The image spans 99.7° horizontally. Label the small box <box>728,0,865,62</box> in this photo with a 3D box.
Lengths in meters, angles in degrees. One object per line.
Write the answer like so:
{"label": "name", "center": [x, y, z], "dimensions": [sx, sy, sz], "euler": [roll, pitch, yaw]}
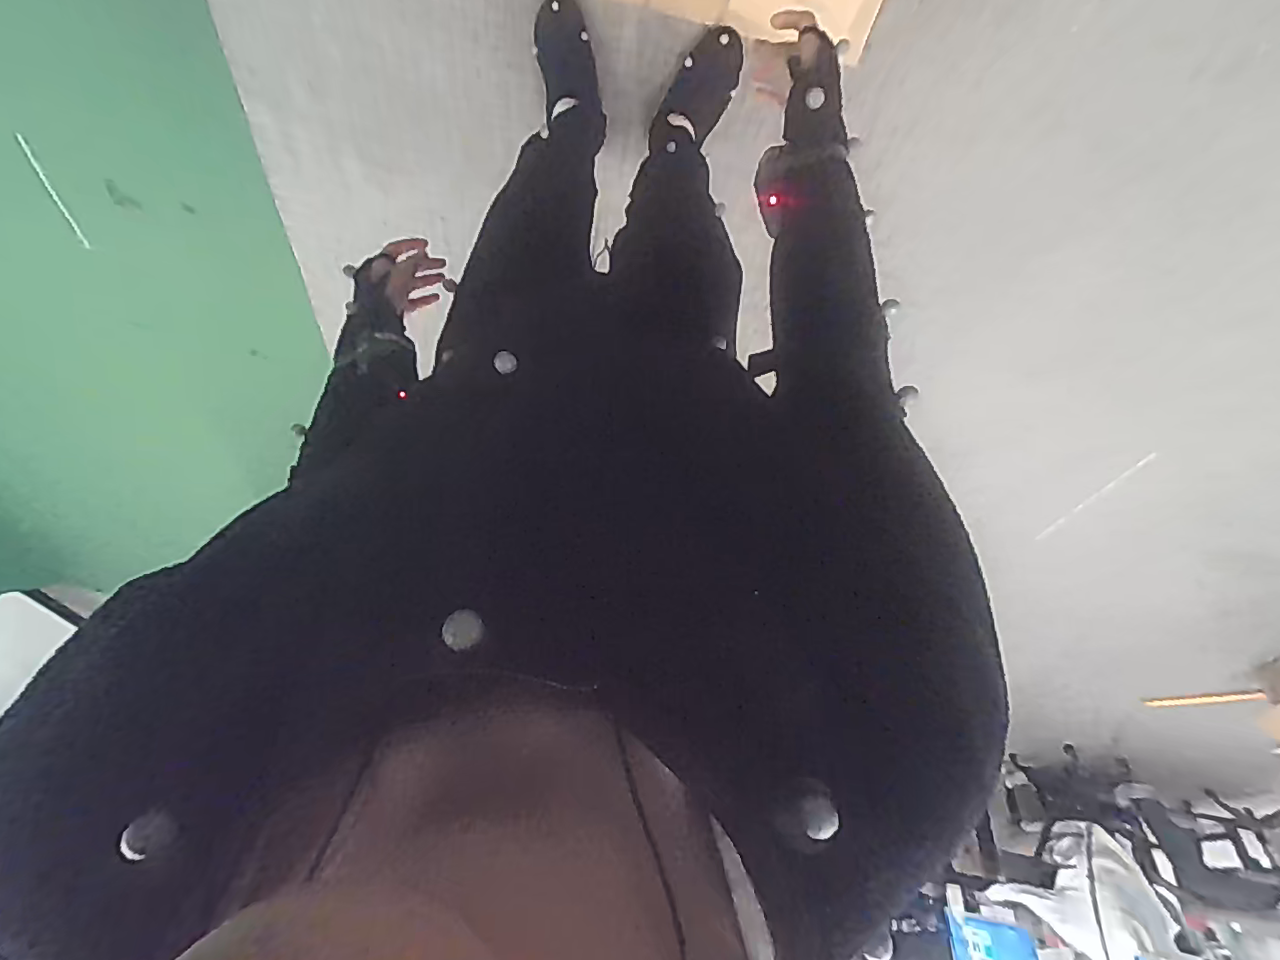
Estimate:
{"label": "small box", "center": [0.227, -0.706, 0.709], "dimensions": [0.168, 0.176, 0.179], "euler": [20, 140, -11]}
